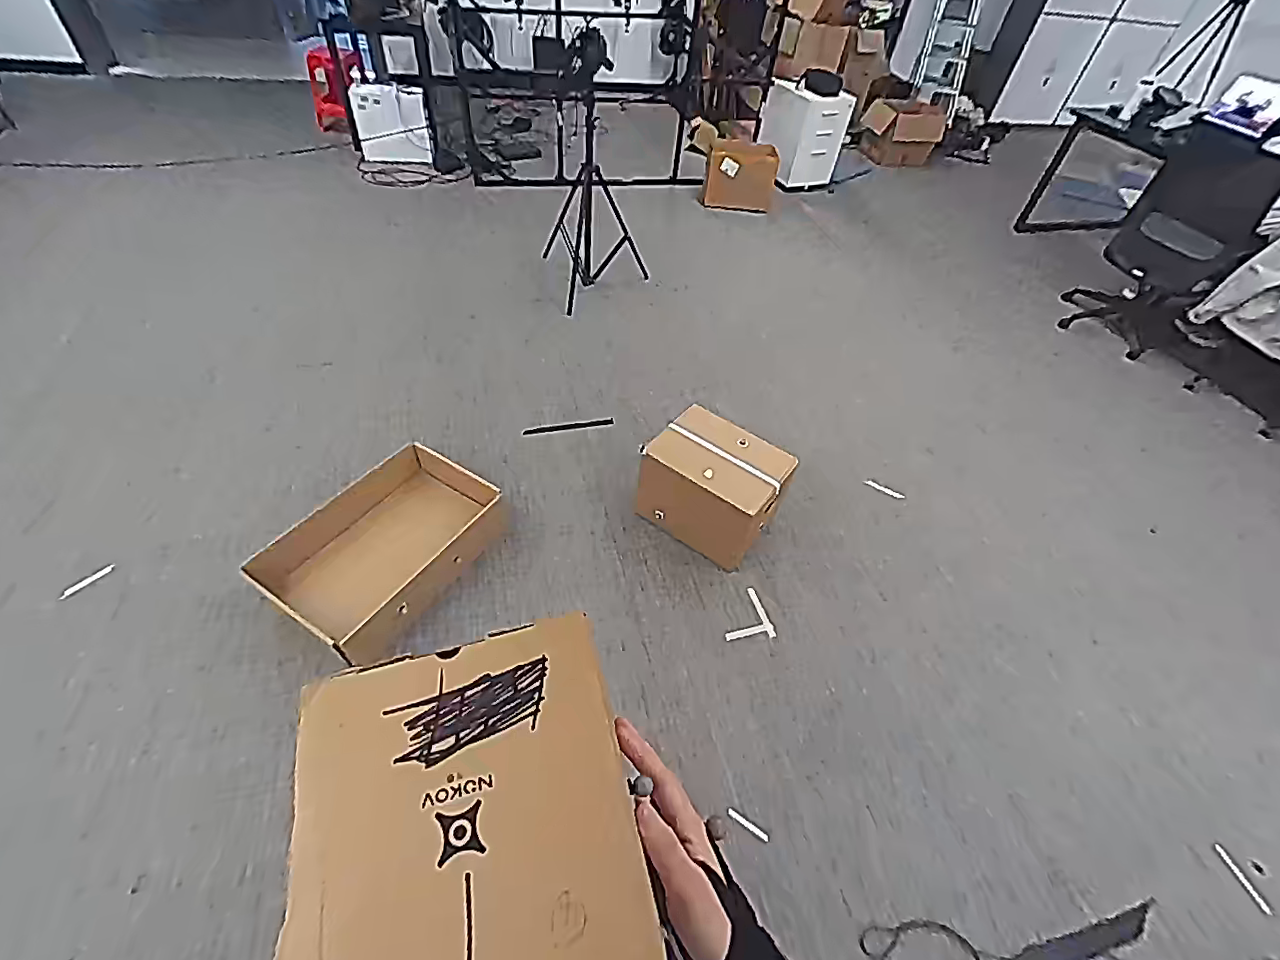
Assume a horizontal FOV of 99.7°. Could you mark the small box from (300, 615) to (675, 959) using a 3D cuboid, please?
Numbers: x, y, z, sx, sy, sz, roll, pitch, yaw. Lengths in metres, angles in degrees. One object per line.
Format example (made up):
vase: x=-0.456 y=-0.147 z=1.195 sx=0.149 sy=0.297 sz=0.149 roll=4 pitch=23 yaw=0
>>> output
small box: x=-0.084 y=0.216 z=0.344 sx=0.168 sy=0.176 sz=0.179 roll=-15 pitch=57 yaw=-8
